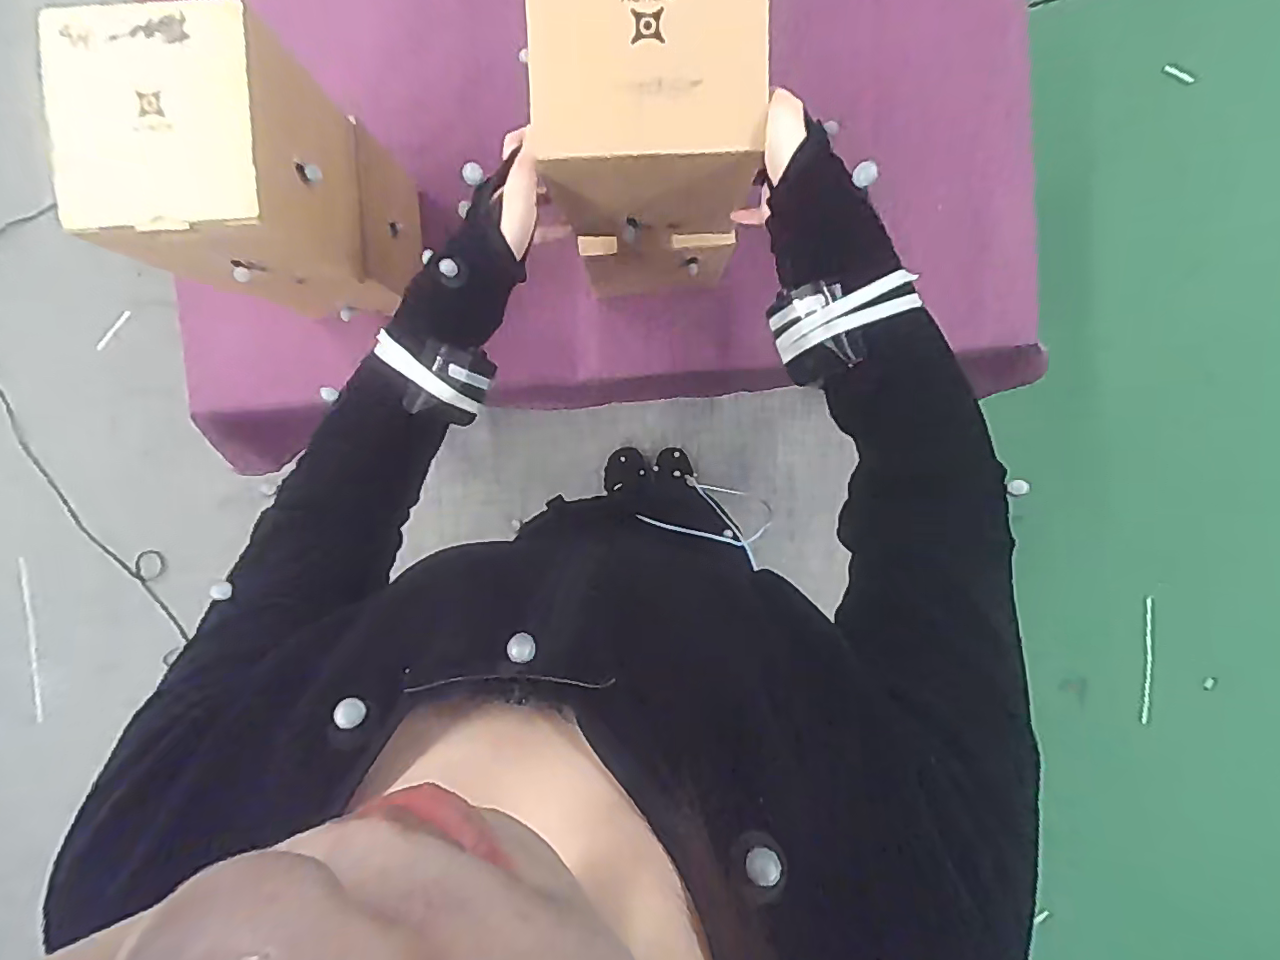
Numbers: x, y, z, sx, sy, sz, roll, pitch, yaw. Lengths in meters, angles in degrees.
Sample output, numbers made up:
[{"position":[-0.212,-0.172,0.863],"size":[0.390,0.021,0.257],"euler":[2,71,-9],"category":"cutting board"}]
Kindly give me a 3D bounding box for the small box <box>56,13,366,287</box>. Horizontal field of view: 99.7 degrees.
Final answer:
[{"position":[-0.386,-0.293,0.521],"size":[0.168,0.176,0.179],"euler":[-2,94,0],"category":"small box"}]

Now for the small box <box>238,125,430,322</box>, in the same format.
[{"position":[-0.381,-0.310,0.685],"size":[0.168,0.176,0.179],"euler":[-3,94,1],"category":"small box"}]

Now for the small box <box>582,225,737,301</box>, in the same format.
[{"position":[0.017,-0.334,0.680],"size":[0.179,0.176,0.168],"euler":[-5,93,1],"category":"small box"}]

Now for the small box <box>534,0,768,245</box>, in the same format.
[{"position":[0.008,-0.317,0.456],"size":[0.168,0.176,0.179],"euler":[-1,95,1],"category":"small box"}]
